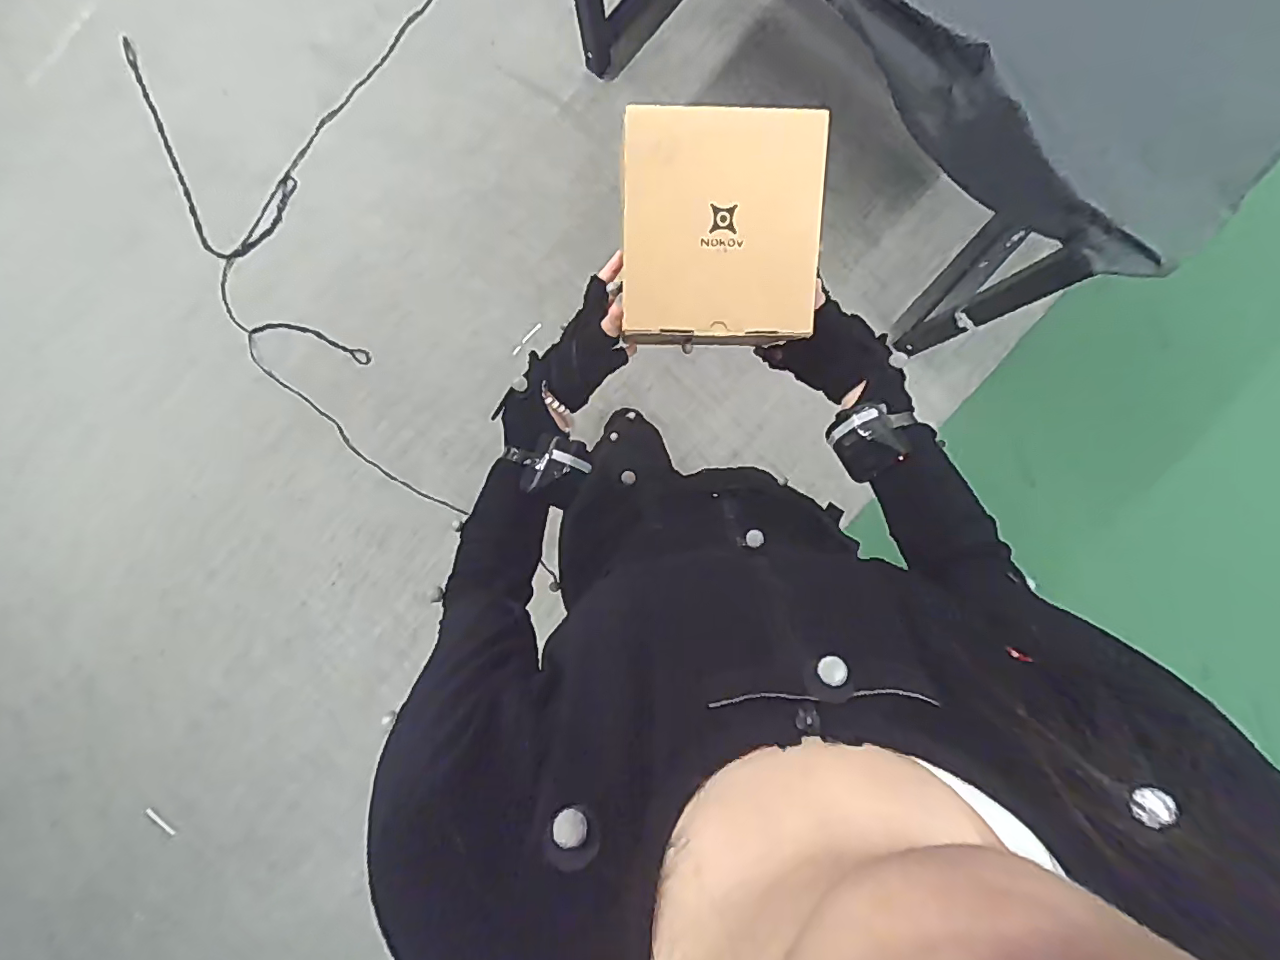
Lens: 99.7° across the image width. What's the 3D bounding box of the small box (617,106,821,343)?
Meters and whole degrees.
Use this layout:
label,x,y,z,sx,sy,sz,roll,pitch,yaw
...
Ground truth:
label,x,y,z,sx,sy,sz,roll,pitch,yaw
small box,0.062,-0.231,0.534,0.168,0.176,0.179,0,103,-3
